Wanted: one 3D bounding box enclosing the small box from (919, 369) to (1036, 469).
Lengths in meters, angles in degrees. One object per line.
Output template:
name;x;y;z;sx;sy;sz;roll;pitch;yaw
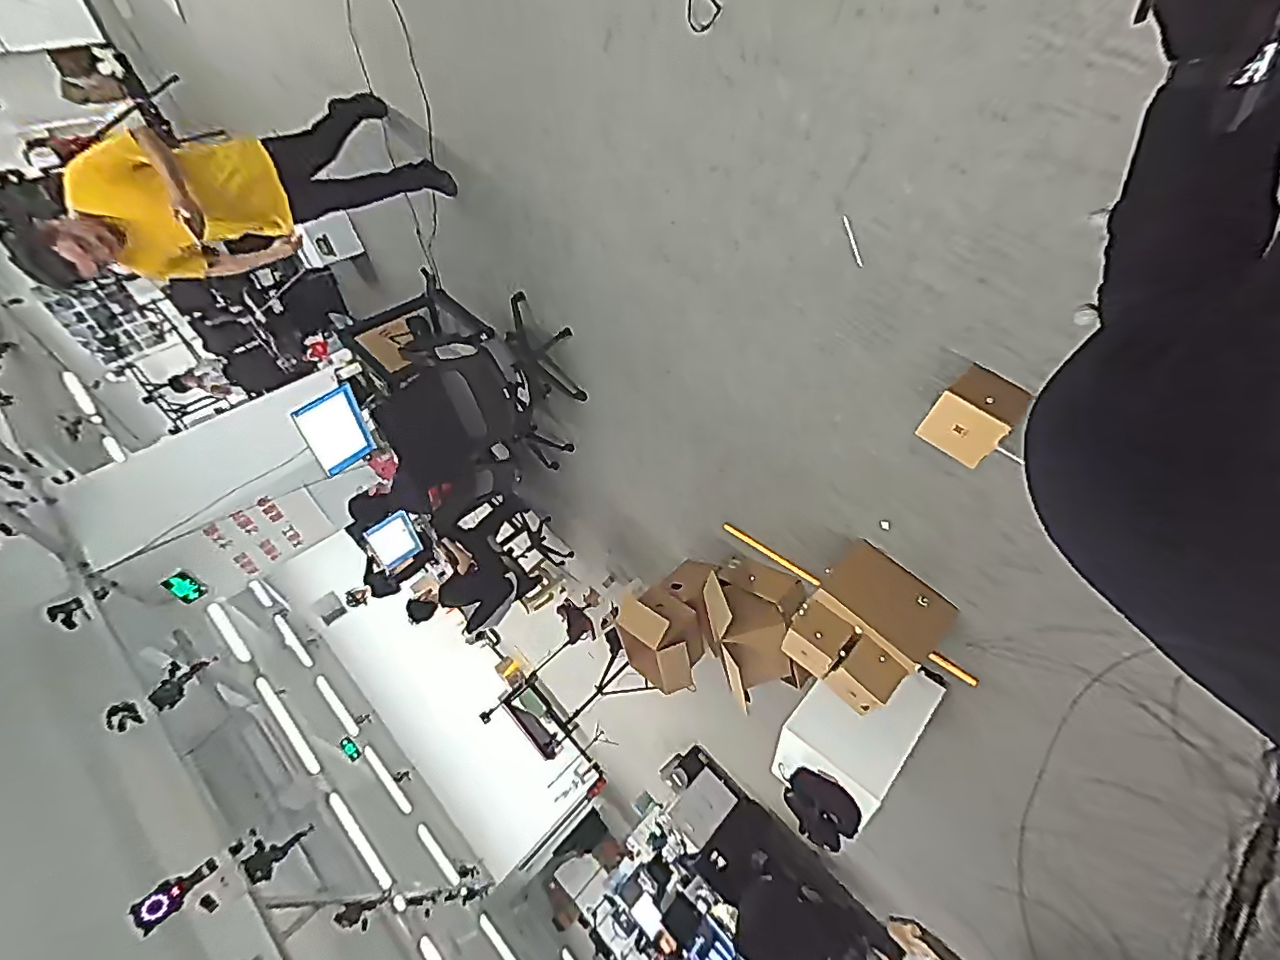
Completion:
small box;0.891;-0.169;1.429;0.179;0.176;0.168;39;148;22
